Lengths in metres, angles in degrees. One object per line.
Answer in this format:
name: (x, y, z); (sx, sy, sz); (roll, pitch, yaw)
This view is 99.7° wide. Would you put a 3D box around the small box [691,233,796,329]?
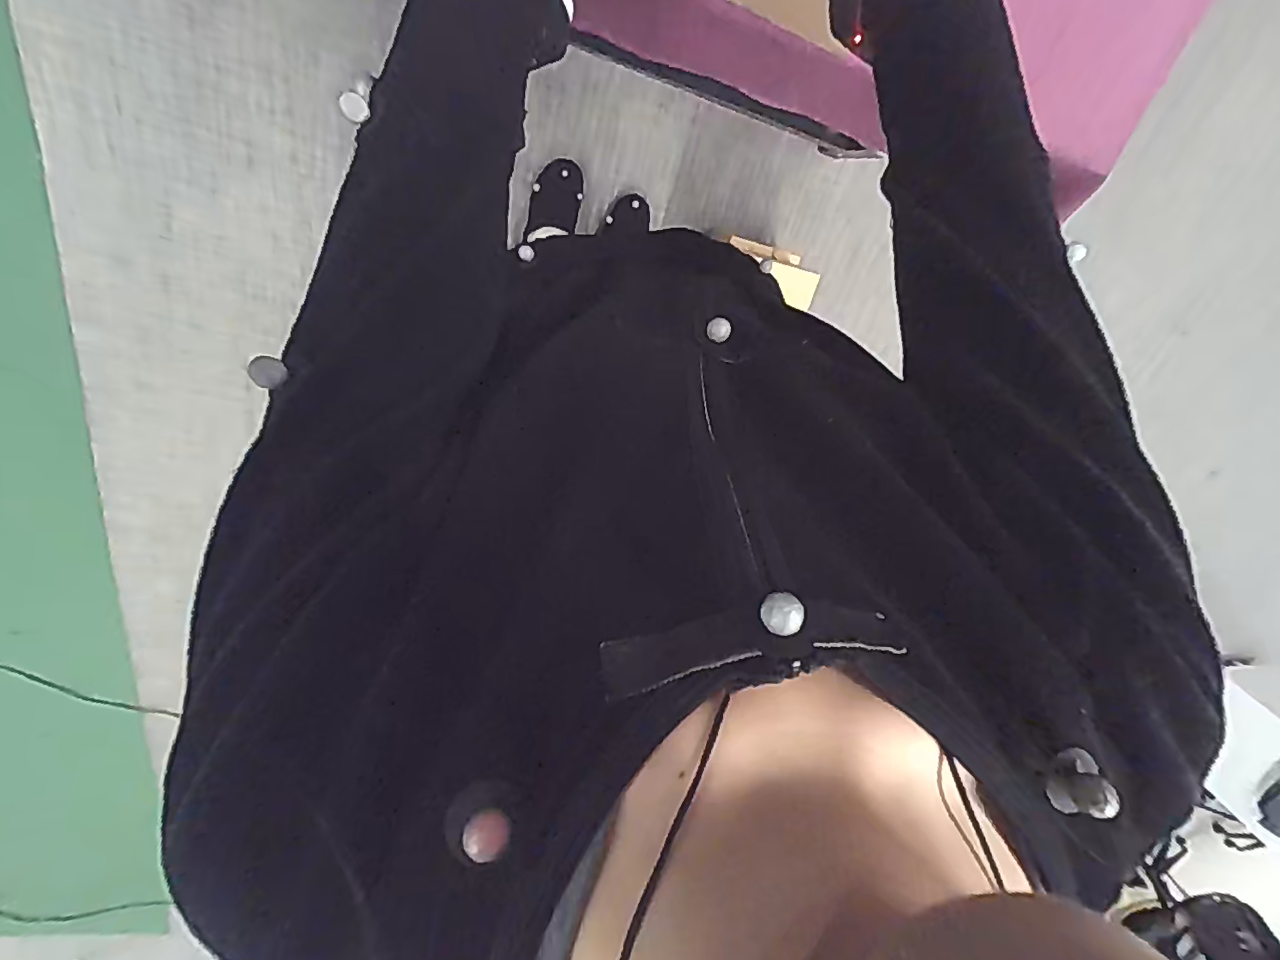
small box: (0.243, -0.487, 1.310); (0.179, 0.176, 0.168); (11, 118, -14)
